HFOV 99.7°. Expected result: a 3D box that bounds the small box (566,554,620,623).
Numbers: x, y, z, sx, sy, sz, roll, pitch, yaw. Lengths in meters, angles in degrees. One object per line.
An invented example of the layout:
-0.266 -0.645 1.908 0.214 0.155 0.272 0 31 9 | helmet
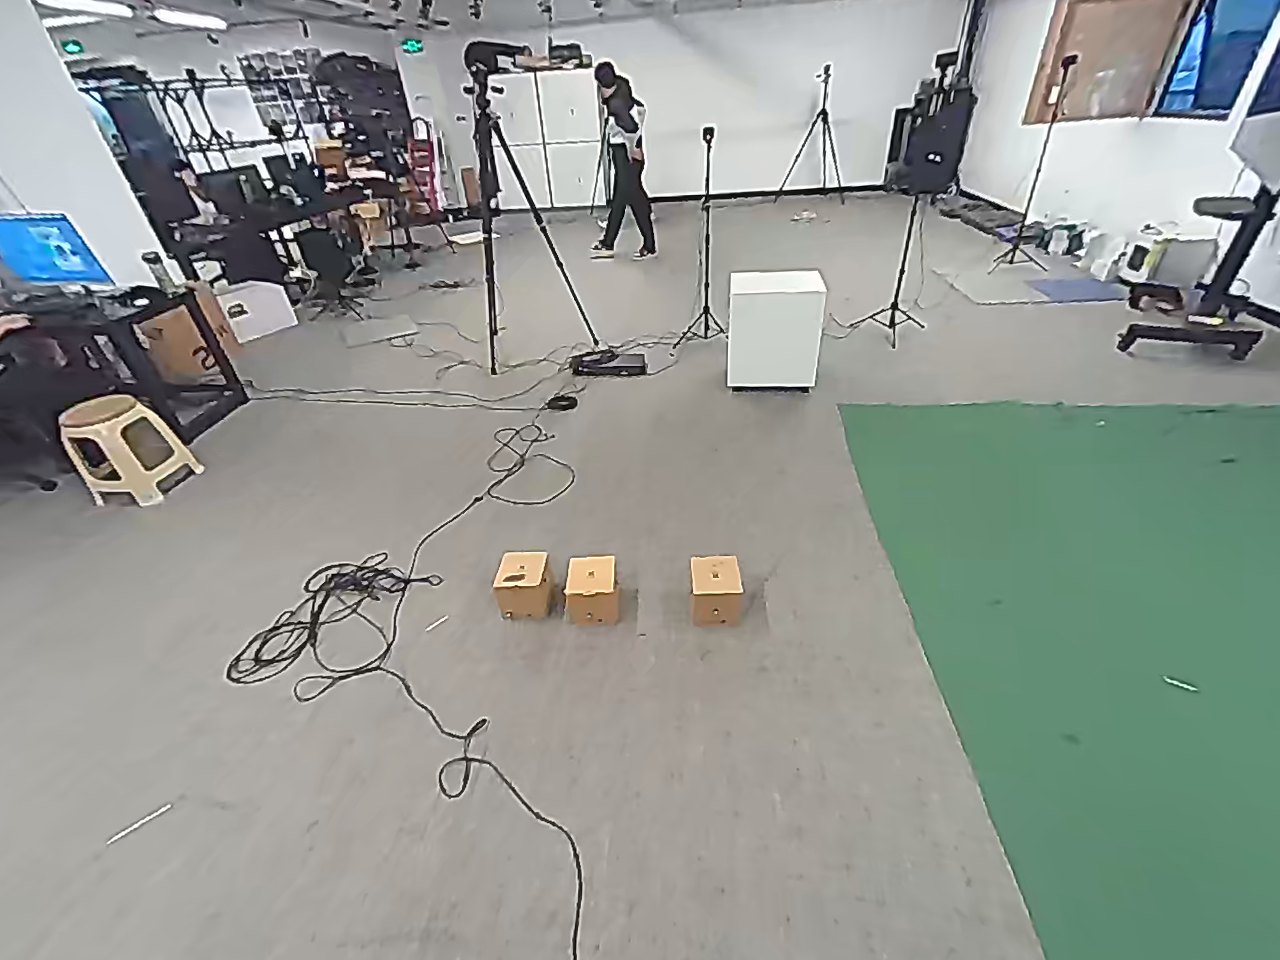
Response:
-0.163 0.386 1.927 0.168 0.176 0.179 -3 37 2 | small box

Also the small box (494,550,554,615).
-0.415 0.374 1.967 0.168 0.176 0.179 -1 35 4 | small box

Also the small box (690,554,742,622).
0.262 0.382 1.890 0.168 0.176 0.179 -2 36 2 | small box
